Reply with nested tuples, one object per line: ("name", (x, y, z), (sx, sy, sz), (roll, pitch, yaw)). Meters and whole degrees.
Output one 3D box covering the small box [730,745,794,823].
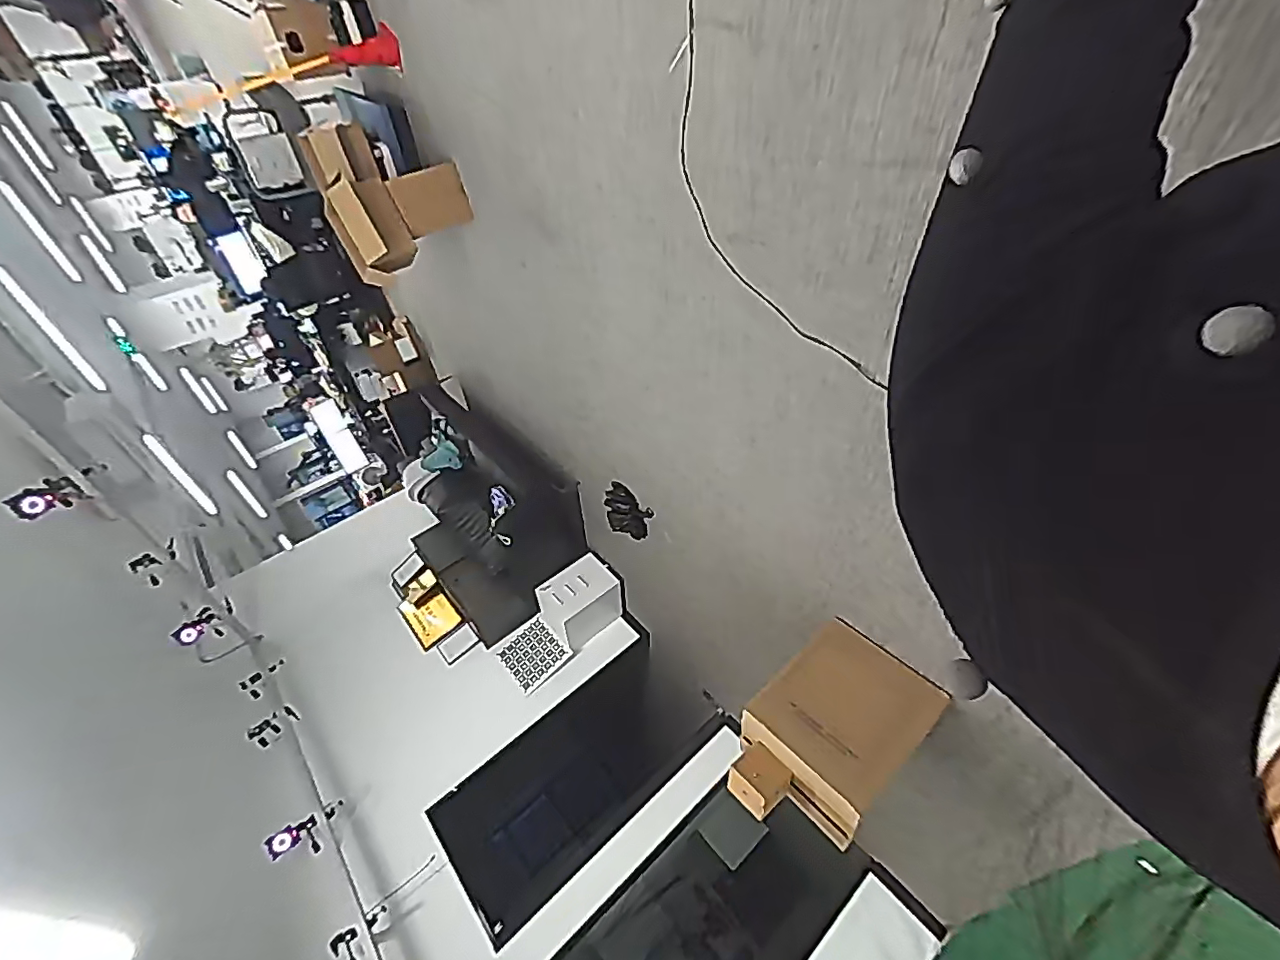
("small box", (0.480, 1.188, 2.126), (0.179, 0.176, 0.168), (33, 135, 42))
